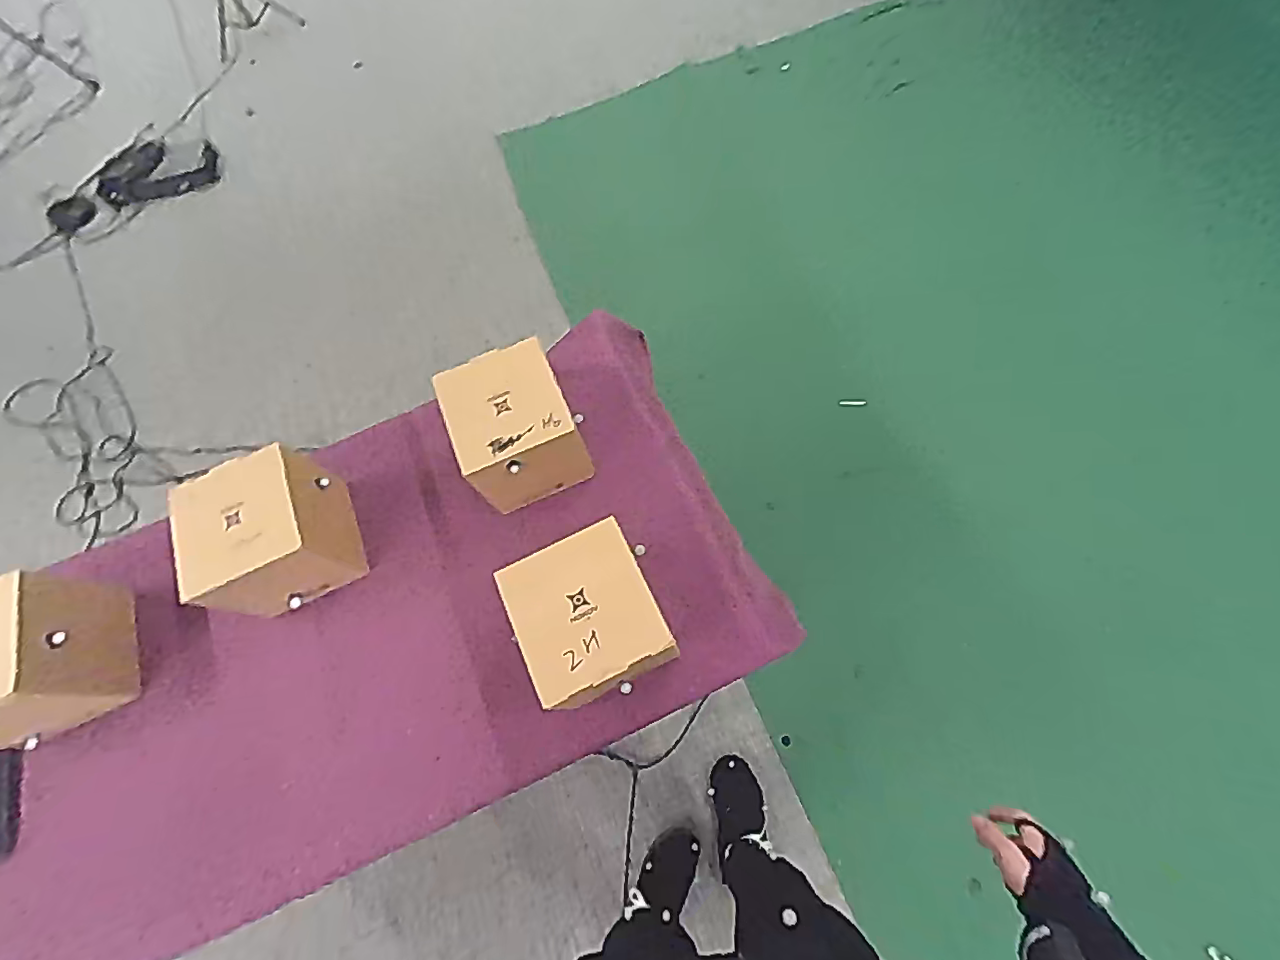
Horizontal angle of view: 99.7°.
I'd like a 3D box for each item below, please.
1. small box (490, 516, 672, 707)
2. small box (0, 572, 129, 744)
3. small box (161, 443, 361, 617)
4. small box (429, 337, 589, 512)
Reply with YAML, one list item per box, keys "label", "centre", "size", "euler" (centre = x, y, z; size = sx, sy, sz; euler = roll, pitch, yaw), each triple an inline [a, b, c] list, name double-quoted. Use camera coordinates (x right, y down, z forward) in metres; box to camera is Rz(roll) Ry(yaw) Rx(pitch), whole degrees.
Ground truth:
- label: "small box"
  centre: [-0.069, 0.178, 0.705]
  size: [0.168, 0.176, 0.179]
  euler: [-26, 68, -4]
- label: "small box"
  centre: [-0.866, 0.254, 0.751]
  size: [0.168, 0.176, 0.179]
  euler: [-25, 67, -6]
- label: "small box"
  centre: [-0.546, 0.081, 0.796]
  size: [0.168, 0.176, 0.179]
  euler: [-25, 68, -5]
- label: "small box"
  centre: [-0.193, -0.078, 0.828]
  size: [0.168, 0.176, 0.179]
  euler: [-24, 67, -4]
